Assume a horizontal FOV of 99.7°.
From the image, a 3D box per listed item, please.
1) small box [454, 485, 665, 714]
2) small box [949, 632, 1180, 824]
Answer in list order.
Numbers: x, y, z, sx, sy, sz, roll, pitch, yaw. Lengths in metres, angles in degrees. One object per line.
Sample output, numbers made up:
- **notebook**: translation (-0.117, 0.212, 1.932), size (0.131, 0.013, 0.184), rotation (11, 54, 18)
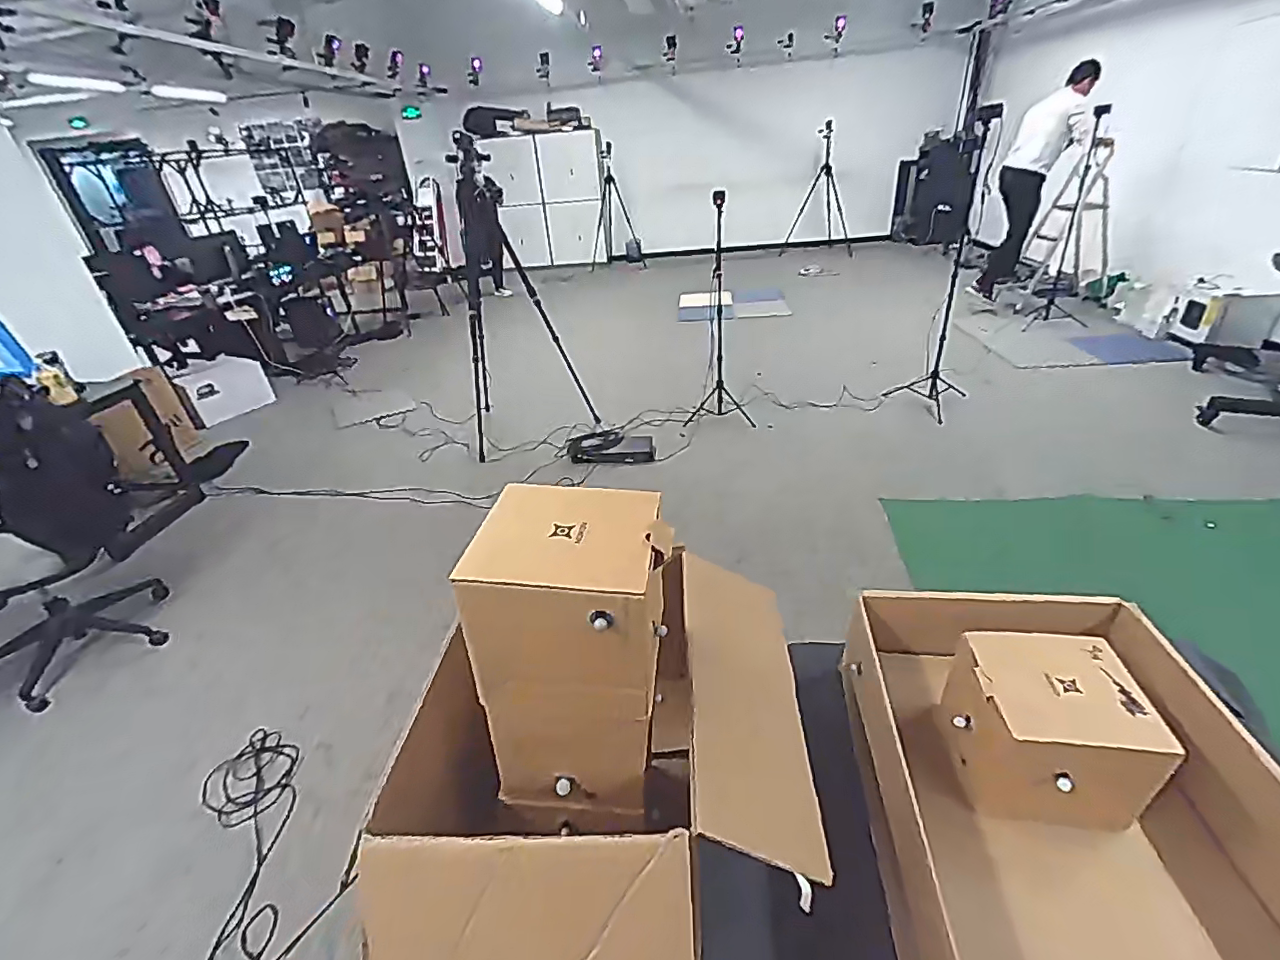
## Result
- **small box**: translation (-0.068, 0.121, 0.568), size (0.179, 0.176, 0.168), rotation (3, 30, 5)
- **small box**: translation (0.527, 0.322, 0.711), size (0.179, 0.176, 0.168), rotation (-1, 33, 11)
